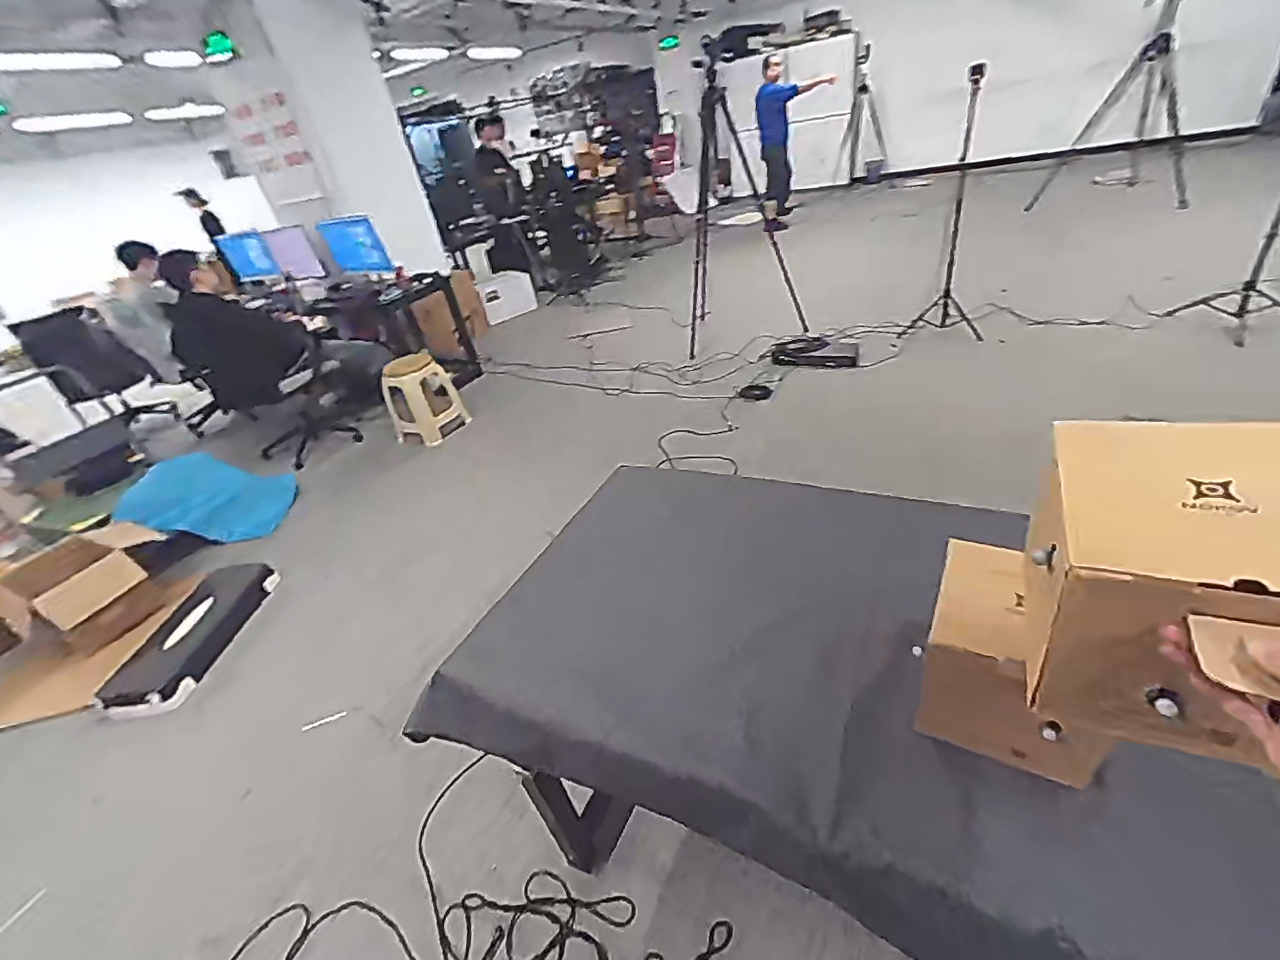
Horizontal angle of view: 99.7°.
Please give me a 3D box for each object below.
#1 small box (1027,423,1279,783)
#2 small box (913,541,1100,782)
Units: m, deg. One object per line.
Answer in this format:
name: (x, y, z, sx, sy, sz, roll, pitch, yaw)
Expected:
small box: (0.392, 0.077, 0.390, 0.168, 0.176, 0.179, 4, 41, 30)
small box: (0.422, 0.203, 0.622, 0.168, 0.176, 0.179, 11, 38, 30)
